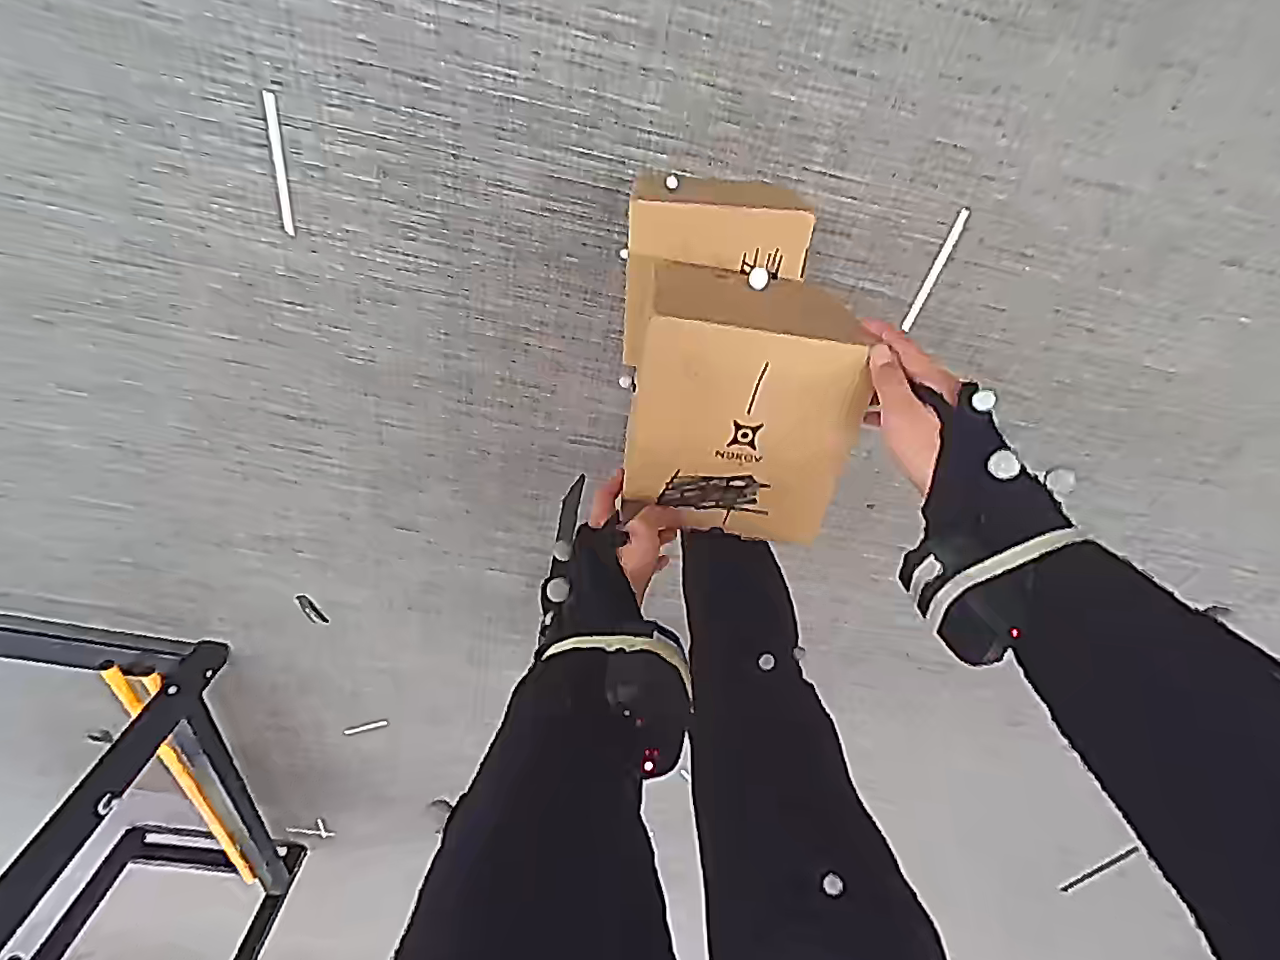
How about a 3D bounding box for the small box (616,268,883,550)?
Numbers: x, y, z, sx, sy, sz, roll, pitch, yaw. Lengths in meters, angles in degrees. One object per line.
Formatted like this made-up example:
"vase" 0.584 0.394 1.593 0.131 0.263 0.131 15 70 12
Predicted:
"small box" 0.076 -0.067 0.473 0.168 0.176 0.179 8 123 -3
